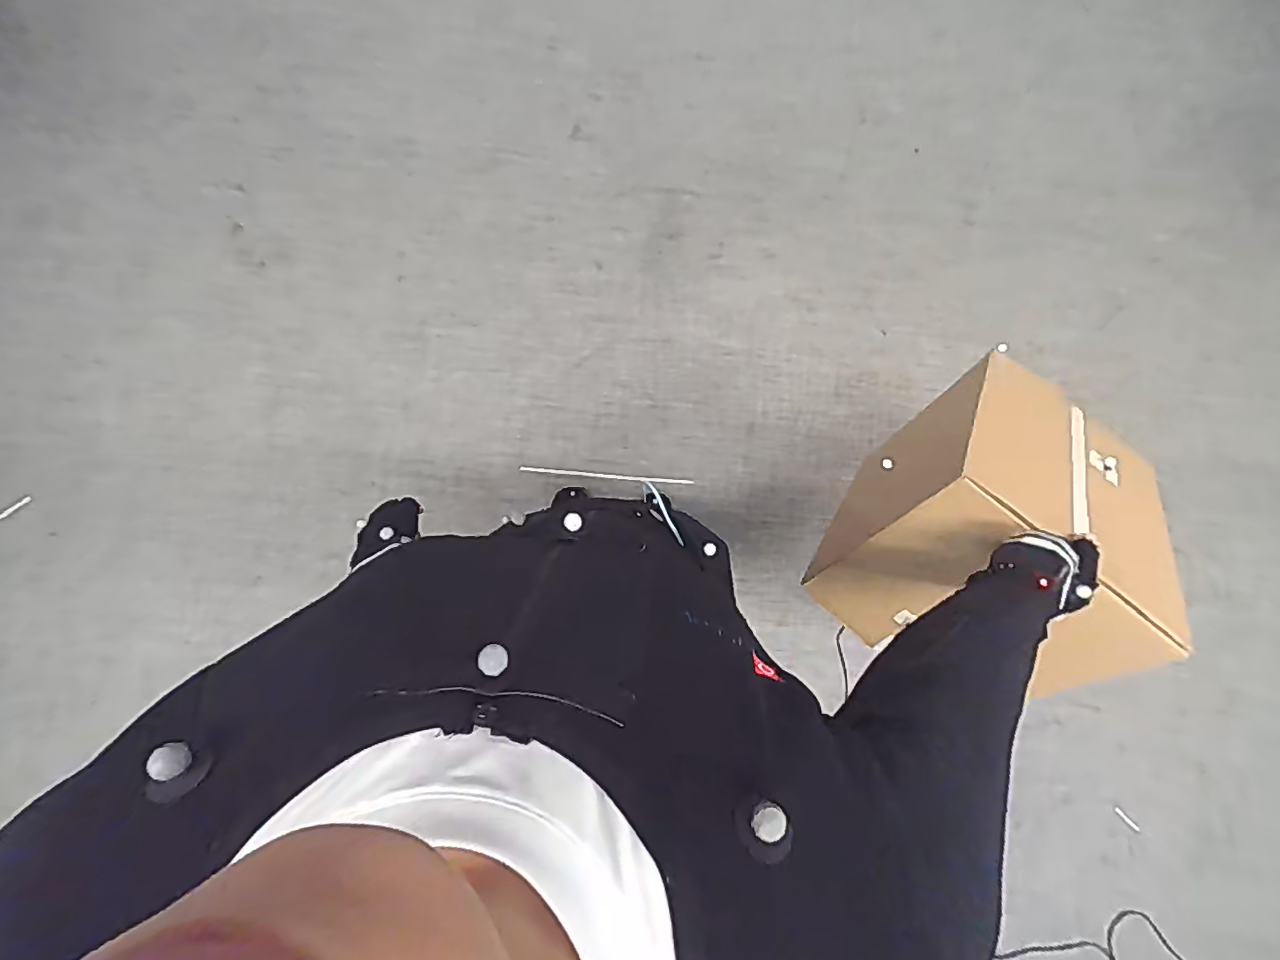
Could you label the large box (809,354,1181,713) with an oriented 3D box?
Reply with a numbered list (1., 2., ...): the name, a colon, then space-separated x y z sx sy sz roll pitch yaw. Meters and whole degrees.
1. large box: 0.529 0.076 0.854 0.320 0.320 0.408 41 47 5
